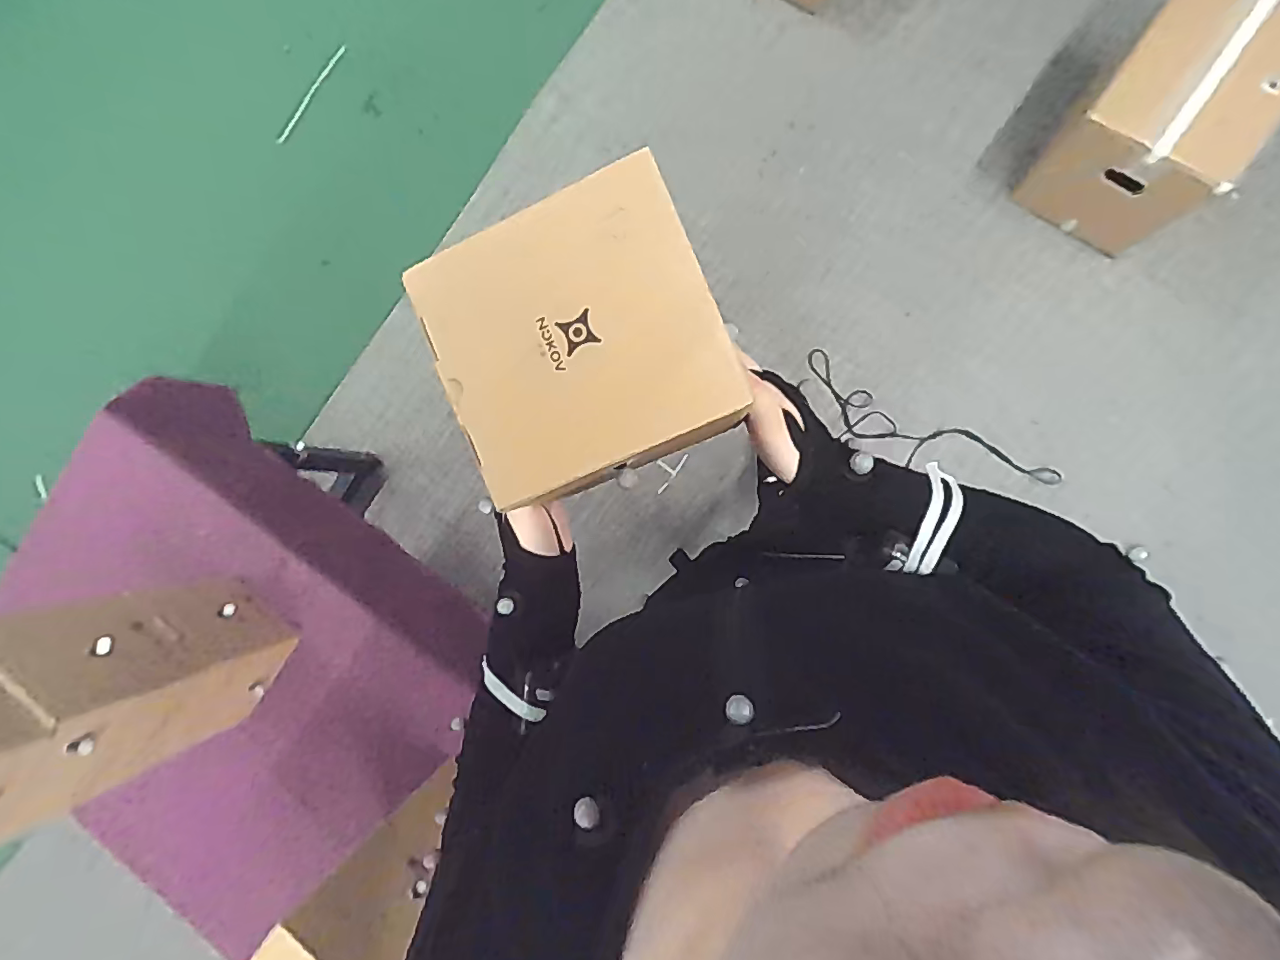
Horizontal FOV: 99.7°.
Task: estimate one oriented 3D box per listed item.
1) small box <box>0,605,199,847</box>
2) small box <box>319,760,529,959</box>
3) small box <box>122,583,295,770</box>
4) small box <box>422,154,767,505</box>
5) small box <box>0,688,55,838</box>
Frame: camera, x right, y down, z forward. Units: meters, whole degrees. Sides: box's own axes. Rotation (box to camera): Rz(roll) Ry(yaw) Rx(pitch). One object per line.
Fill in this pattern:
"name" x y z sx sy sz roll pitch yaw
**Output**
"small box" -0.682 0.273 0.638 0.168 0.176 0.179 35 94 8
"small box" -0.281 0.536 0.744 0.168 0.176 0.179 36 93 7
"small box" -0.662 0.274 0.802 0.168 0.176 0.179 35 93 7
"small box" -0.021 -0.093 0.411 0.179 0.176 0.168 -22 89 9
"small box" -0.704 0.276 0.476 0.179 0.176 0.168 35 95 6
